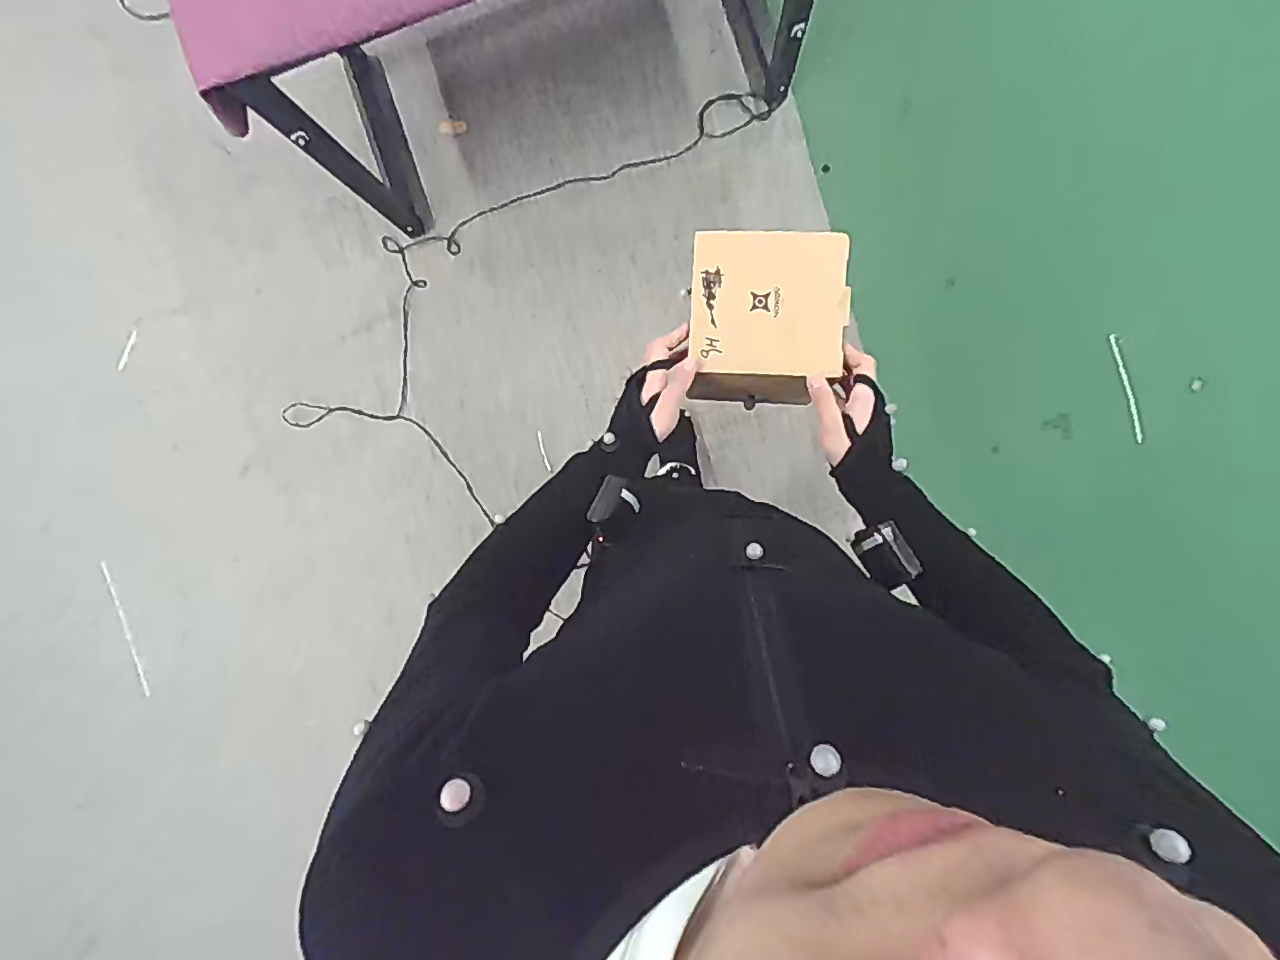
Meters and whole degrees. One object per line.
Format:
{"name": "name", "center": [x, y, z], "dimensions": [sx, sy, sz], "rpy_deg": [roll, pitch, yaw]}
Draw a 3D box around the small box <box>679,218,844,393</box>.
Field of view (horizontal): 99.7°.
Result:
{"name": "small box", "center": [0.144, -0.210, 0.692], "dimensions": [0.179, 0.176, 0.168], "rpy_deg": [4, 88, 5]}
